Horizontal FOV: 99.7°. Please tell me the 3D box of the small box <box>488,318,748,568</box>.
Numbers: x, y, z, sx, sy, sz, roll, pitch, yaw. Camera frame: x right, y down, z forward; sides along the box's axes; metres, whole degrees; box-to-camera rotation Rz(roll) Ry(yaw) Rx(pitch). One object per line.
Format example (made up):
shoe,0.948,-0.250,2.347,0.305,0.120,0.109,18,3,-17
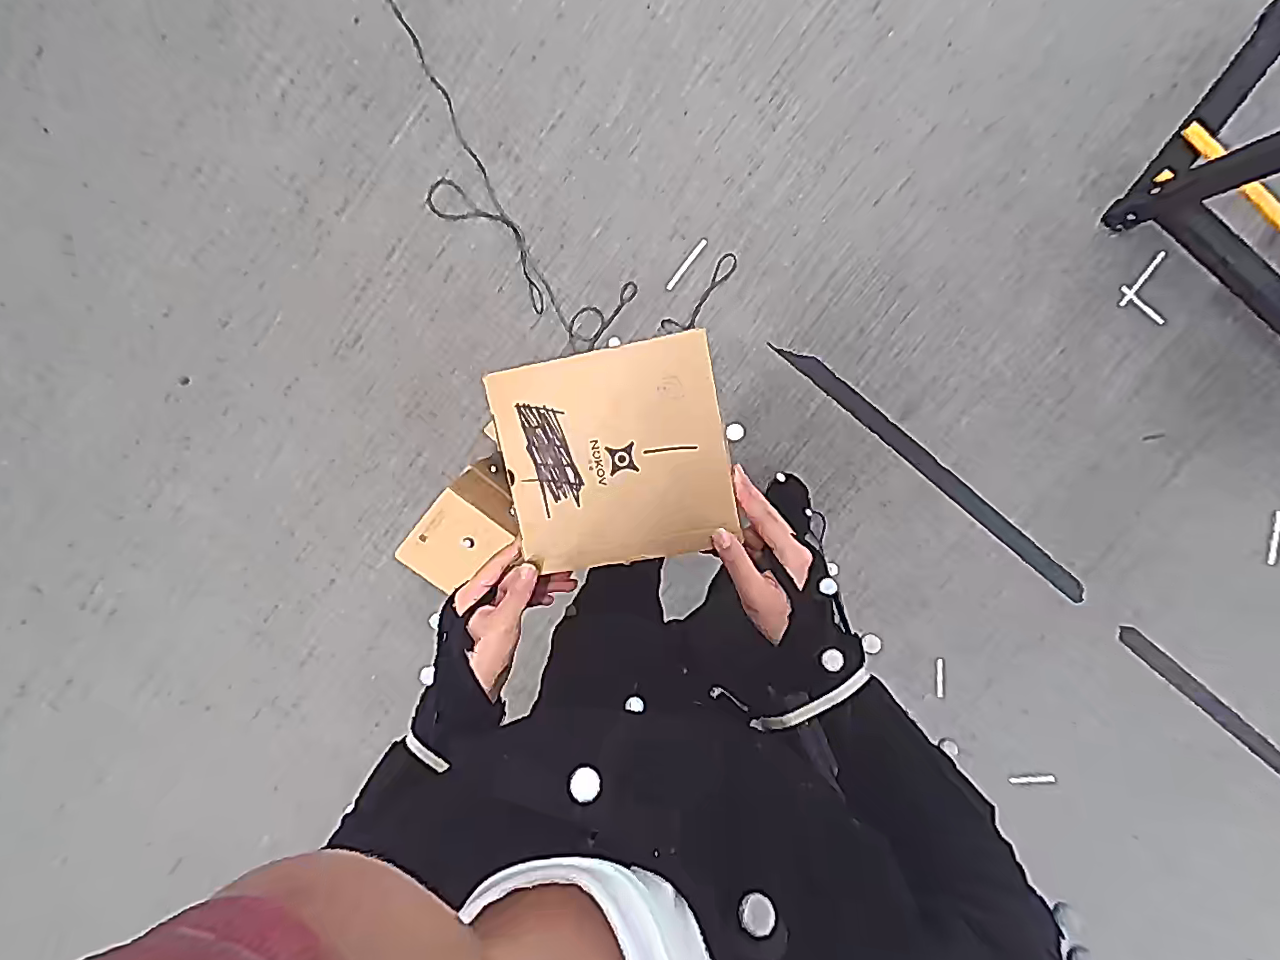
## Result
small box,-0.006,-0.033,0.479,0.179,0.176,0.168,-10,98,9
